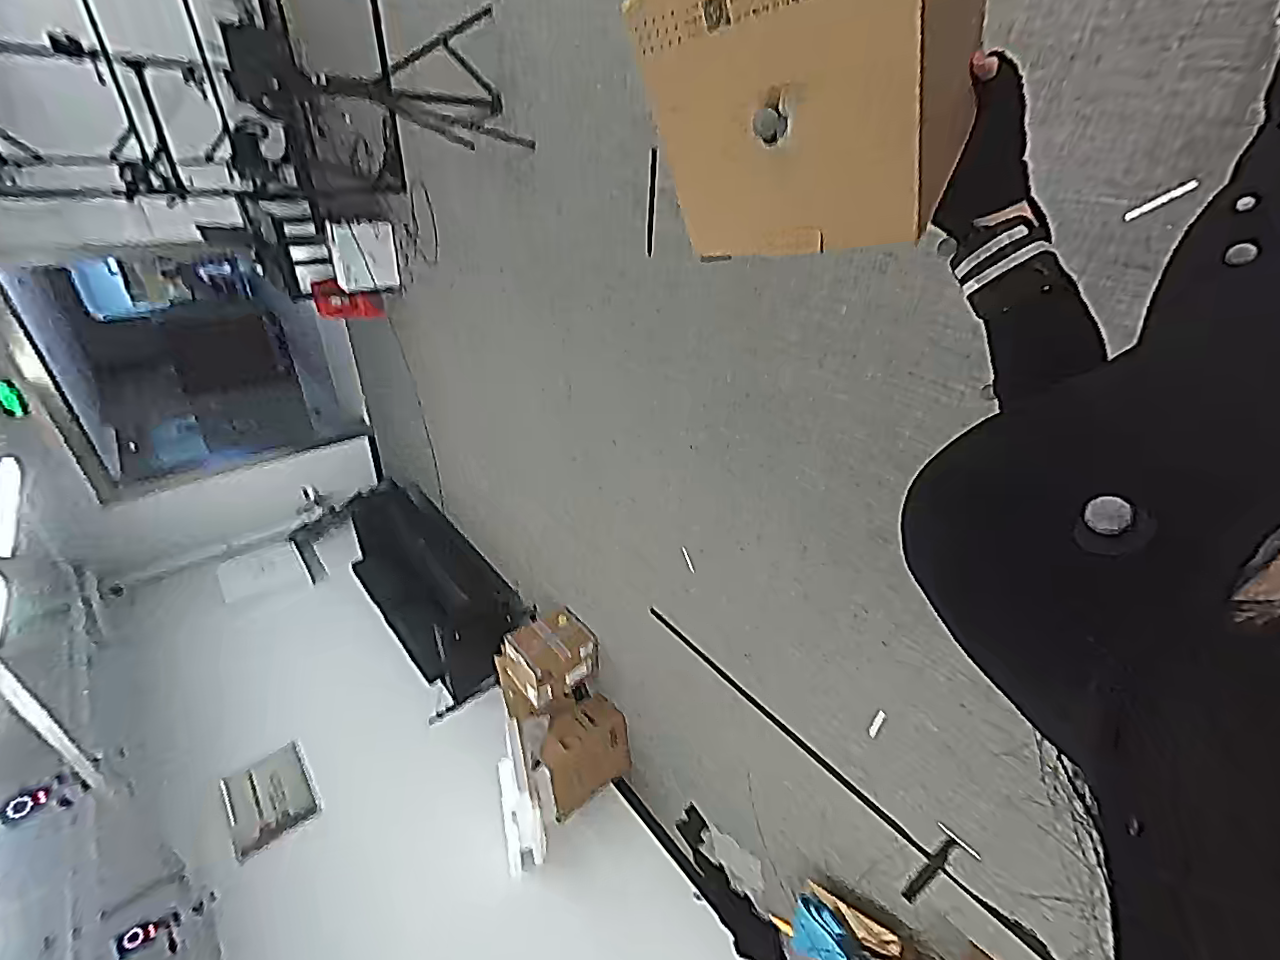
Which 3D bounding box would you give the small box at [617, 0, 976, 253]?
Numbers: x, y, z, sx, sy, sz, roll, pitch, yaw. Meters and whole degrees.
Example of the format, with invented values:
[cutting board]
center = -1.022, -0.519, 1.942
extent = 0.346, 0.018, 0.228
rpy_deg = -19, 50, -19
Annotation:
[small box]
center = 0.111, -0.278, 0.353
extent = 0.168, 0.179, 0.176
rpy_deg = 12, 147, 34
